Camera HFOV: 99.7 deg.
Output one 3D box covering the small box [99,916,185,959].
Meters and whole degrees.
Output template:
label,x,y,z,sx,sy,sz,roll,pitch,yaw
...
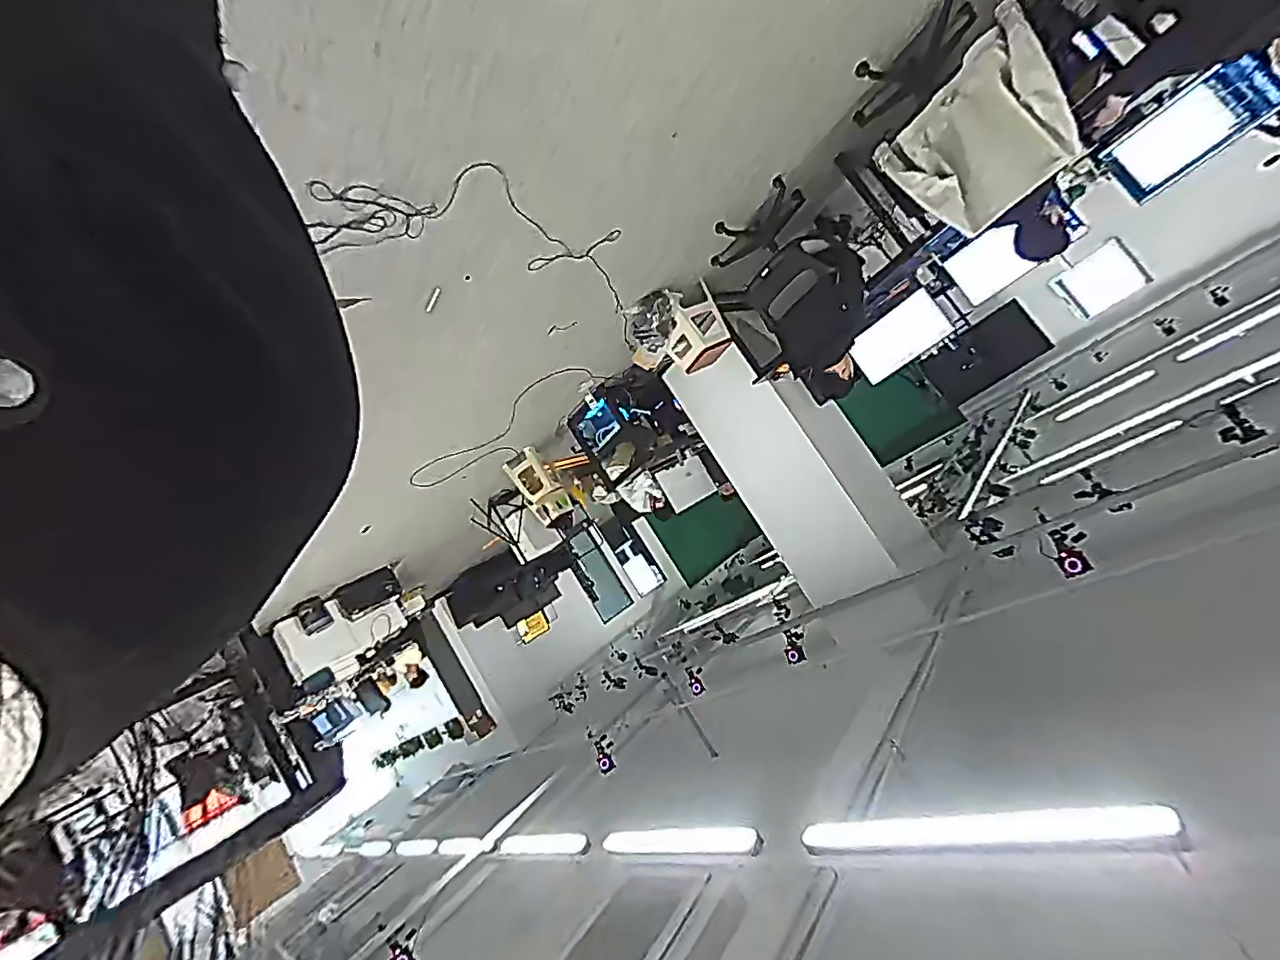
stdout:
label,x,y,z,sx,sy,sz,roll,pitch,yaw
small box,-1.349,1.318,1.453,0.179,0.176,0.168,-37,173,39
